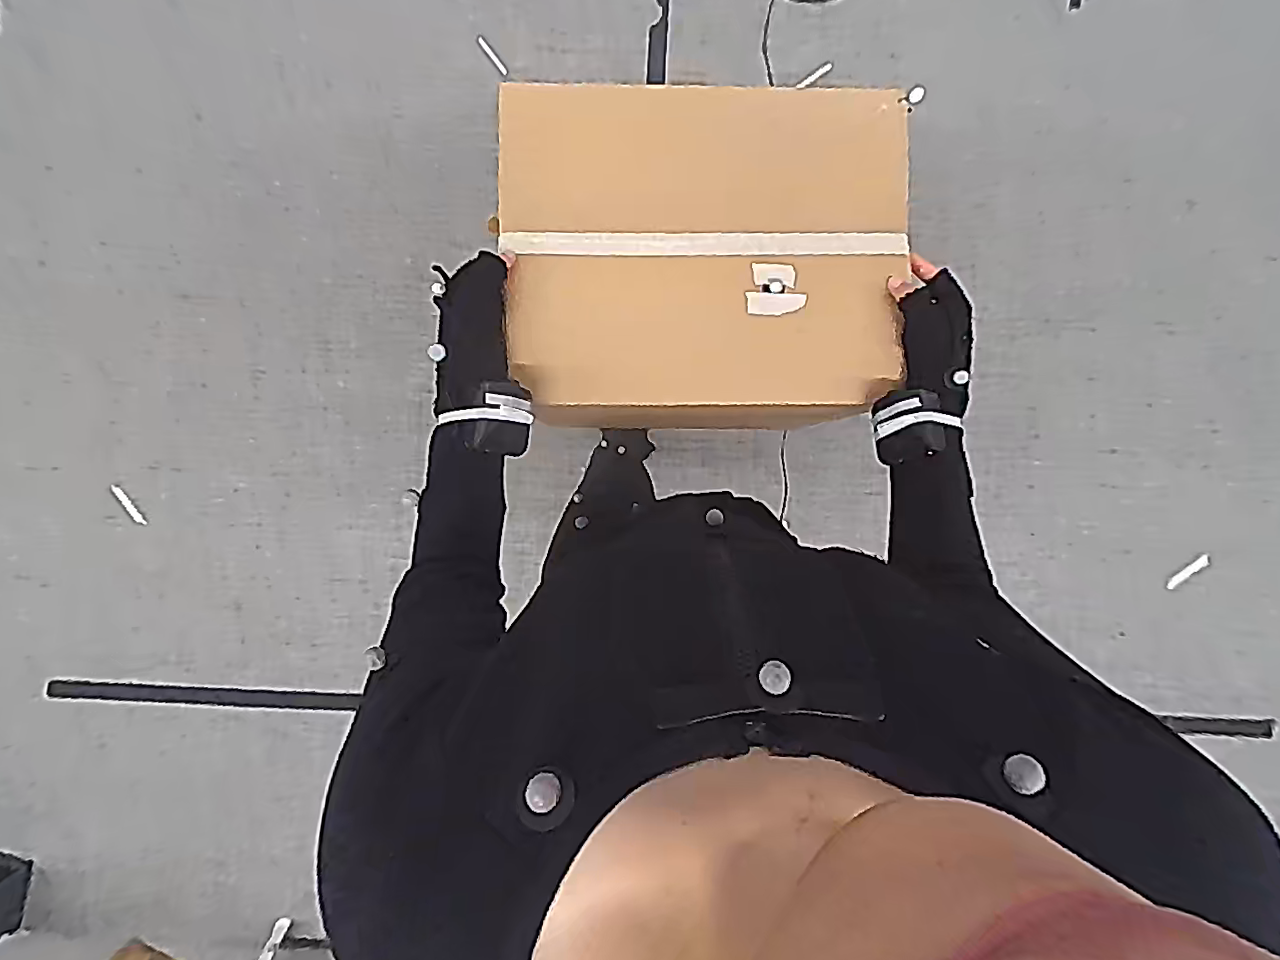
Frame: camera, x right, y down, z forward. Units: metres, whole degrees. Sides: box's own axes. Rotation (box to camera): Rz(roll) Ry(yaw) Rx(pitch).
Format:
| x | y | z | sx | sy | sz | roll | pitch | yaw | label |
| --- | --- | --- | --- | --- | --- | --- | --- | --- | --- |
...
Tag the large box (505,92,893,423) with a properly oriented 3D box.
| x | y | z | sx | sy | sz | roll | pitch | yaw | label |
| --- | --- | --- | --- | --- | --- | --- | --- | --- | --- |
| 0.057 | -0.246 | 0.705 | 0.408 | 0.320 | 0.320 | -1 | 92 | -2 | large box |
